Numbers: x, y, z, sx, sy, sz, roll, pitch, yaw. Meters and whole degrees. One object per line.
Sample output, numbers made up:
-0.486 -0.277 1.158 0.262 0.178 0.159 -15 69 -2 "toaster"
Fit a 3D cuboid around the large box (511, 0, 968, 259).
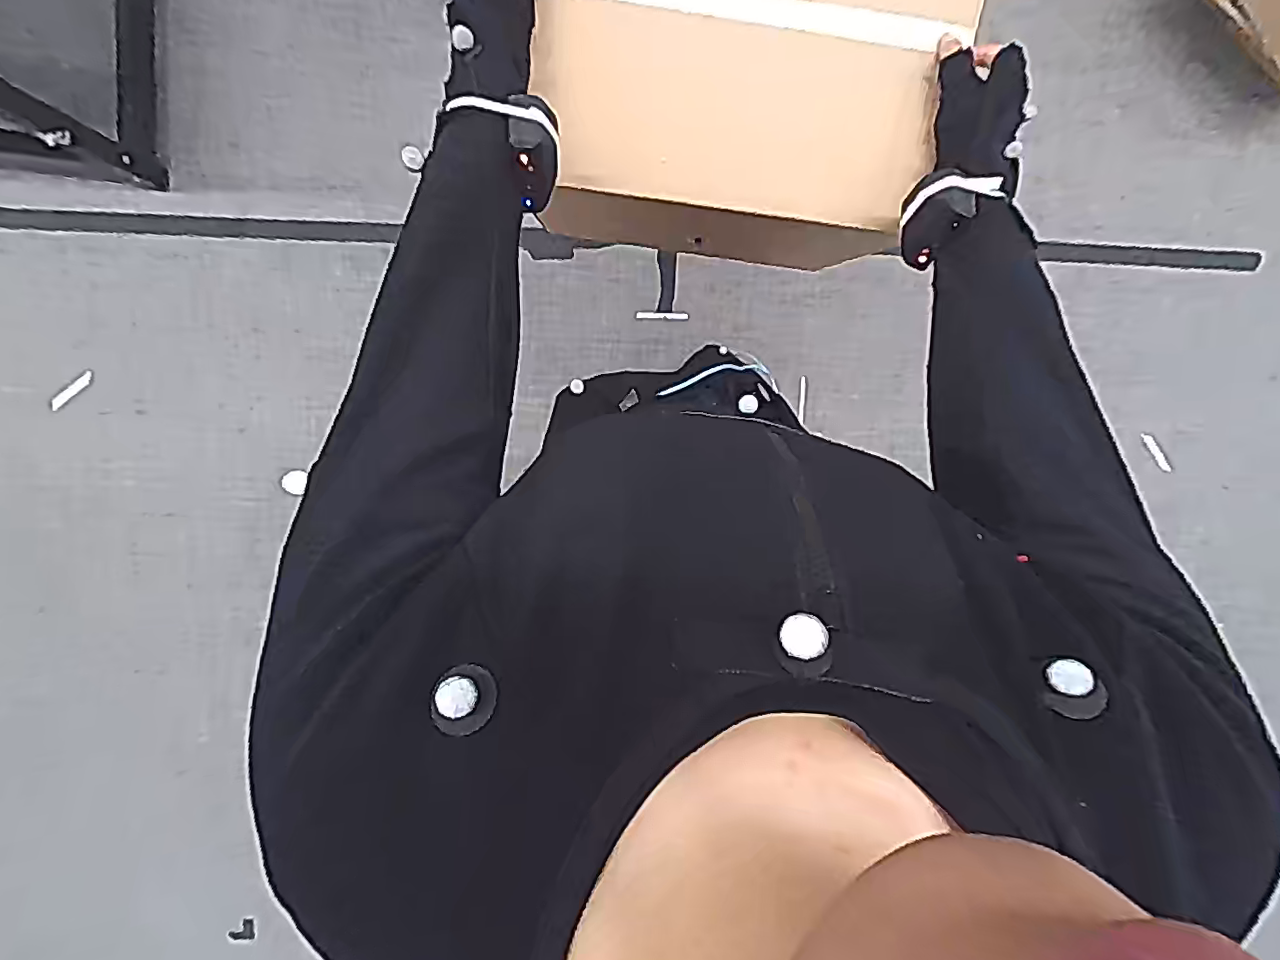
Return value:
0.088 -0.454 0.624 0.408 0.320 0.320 6 104 -4 "large box"
